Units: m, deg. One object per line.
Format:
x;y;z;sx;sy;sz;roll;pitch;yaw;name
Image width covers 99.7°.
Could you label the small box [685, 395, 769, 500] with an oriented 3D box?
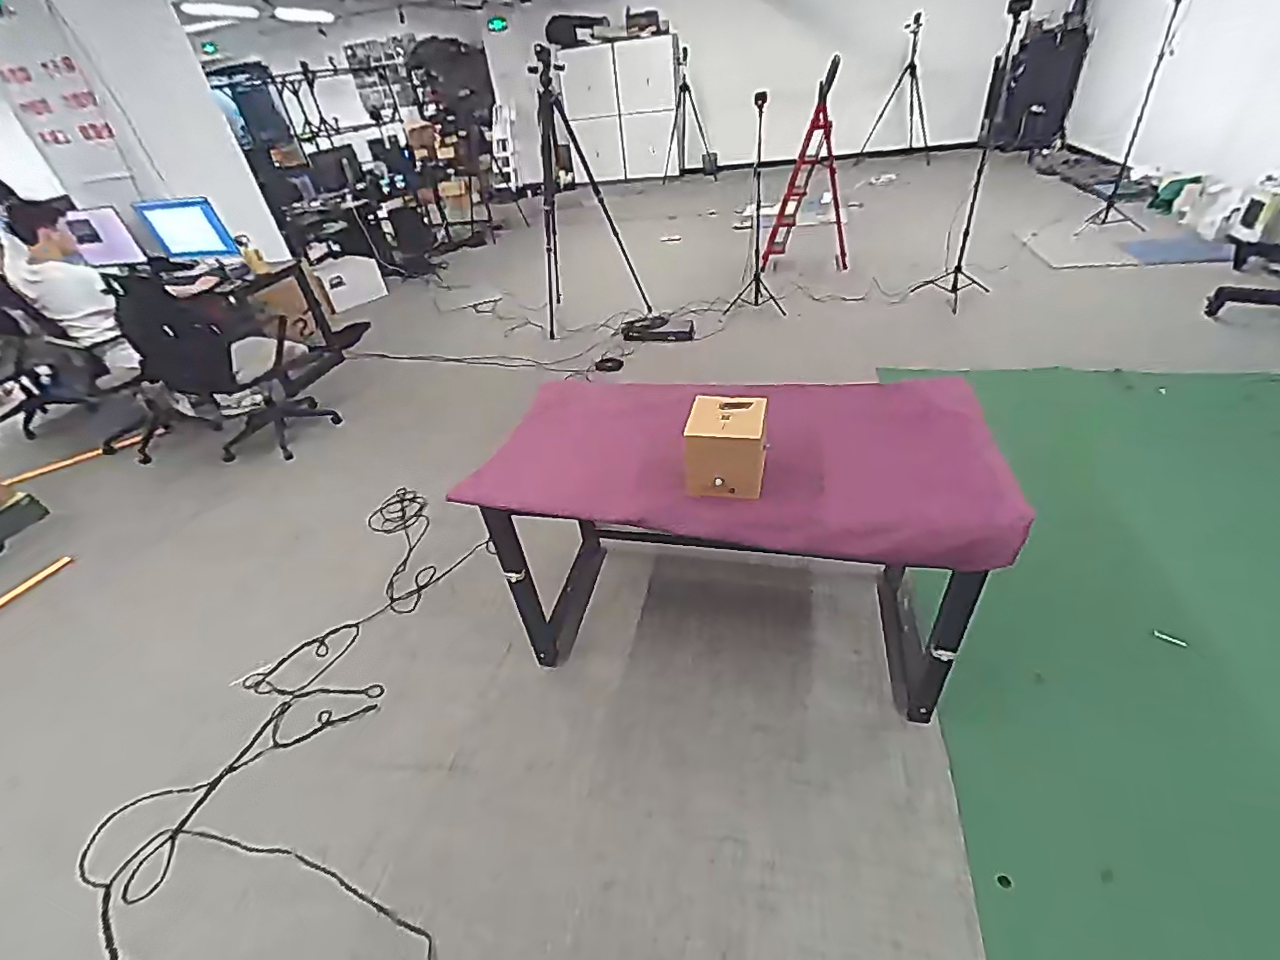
0.202;-0.077;1.241;0.168;0.176;0.179;4;39;16;small box
